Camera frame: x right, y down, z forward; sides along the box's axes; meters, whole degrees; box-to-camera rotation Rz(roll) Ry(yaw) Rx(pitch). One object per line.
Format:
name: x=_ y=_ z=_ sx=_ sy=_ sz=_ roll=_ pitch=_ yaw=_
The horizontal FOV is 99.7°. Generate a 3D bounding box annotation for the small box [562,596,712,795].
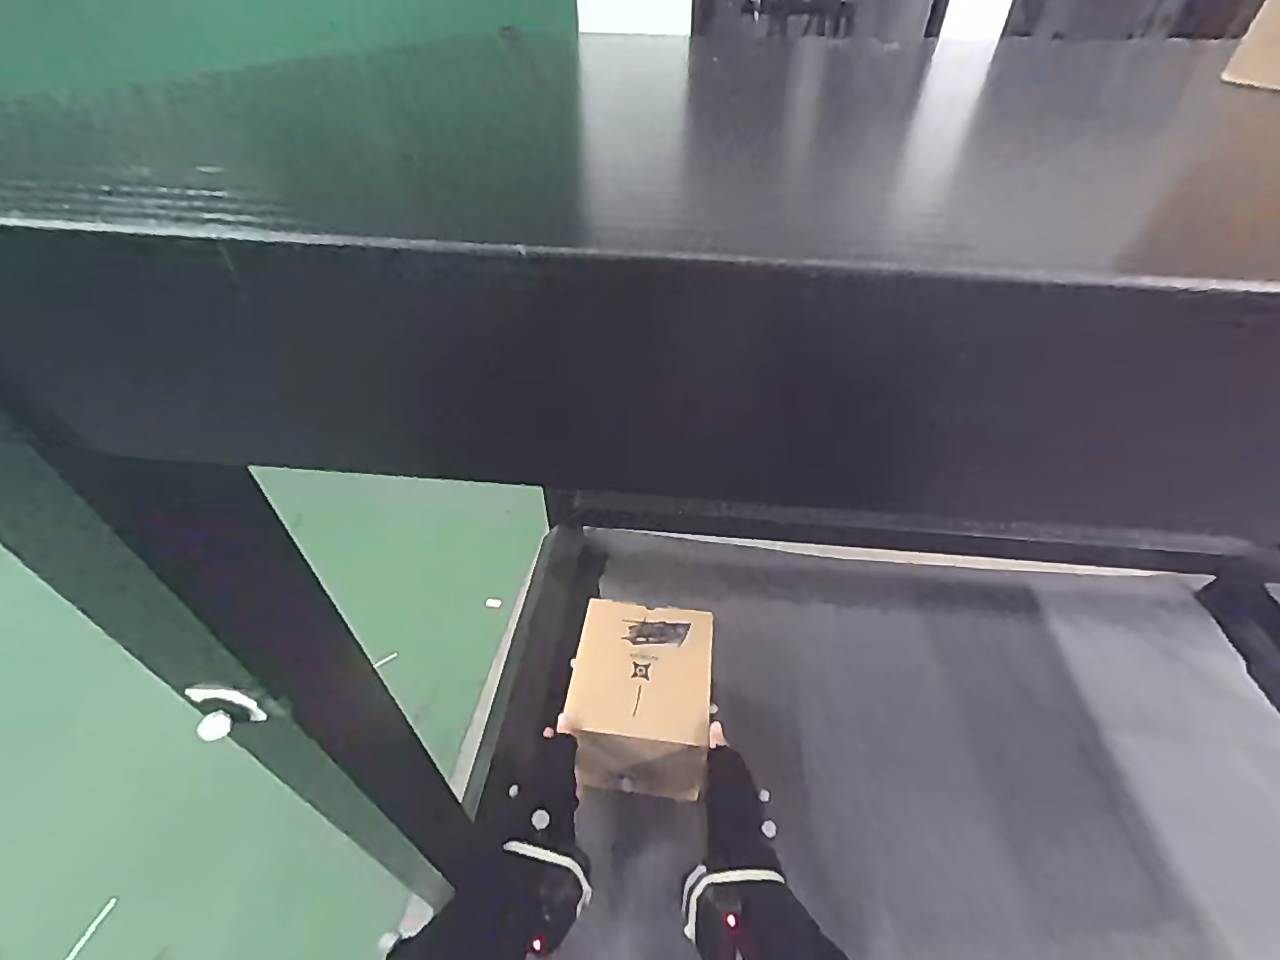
small box: x=0.001 y=0.280 z=0.709 sx=0.168 sy=0.176 sz=0.179 roll=5 pitch=42 yaw=5
